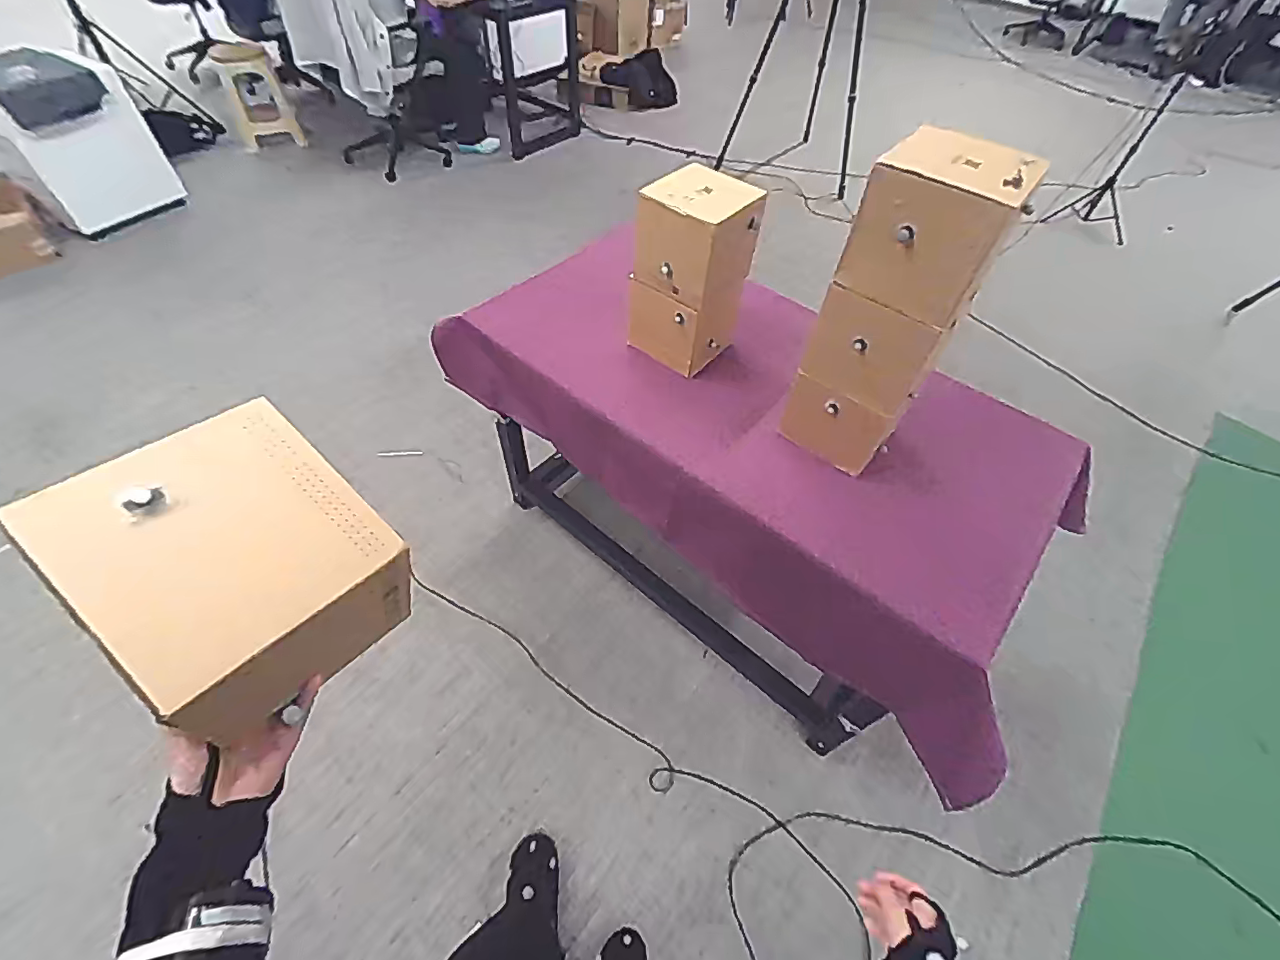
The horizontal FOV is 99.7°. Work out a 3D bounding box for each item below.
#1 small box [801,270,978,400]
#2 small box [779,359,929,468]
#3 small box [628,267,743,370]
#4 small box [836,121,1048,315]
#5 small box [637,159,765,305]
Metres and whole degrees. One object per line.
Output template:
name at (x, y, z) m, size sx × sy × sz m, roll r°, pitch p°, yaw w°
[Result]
small box at (0.391, -0.253, 0.868) m, size 0.179 × 0.176 × 0.168 m, roll 34°, pitch 59°, yaw 22°
small box at (0.383, -0.153, 0.998) m, size 0.179 × 0.176 × 0.168 m, roll 36°, pitch 59°, yaw 21°
small box at (0.088, -0.364, 1.145) m, size 0.179 × 0.176 × 0.168 m, roll 34°, pitch 58°, yaw 20°
small box at (0.398, -0.355, 0.739) m, size 0.179 × 0.176 × 0.168 m, roll 33°, pitch 59°, yaw 22°
small box at (0.105, -0.462, 1.013) m, size 0.168 × 0.176 × 0.179 m, roll 34°, pitch 58°, yaw 21°
